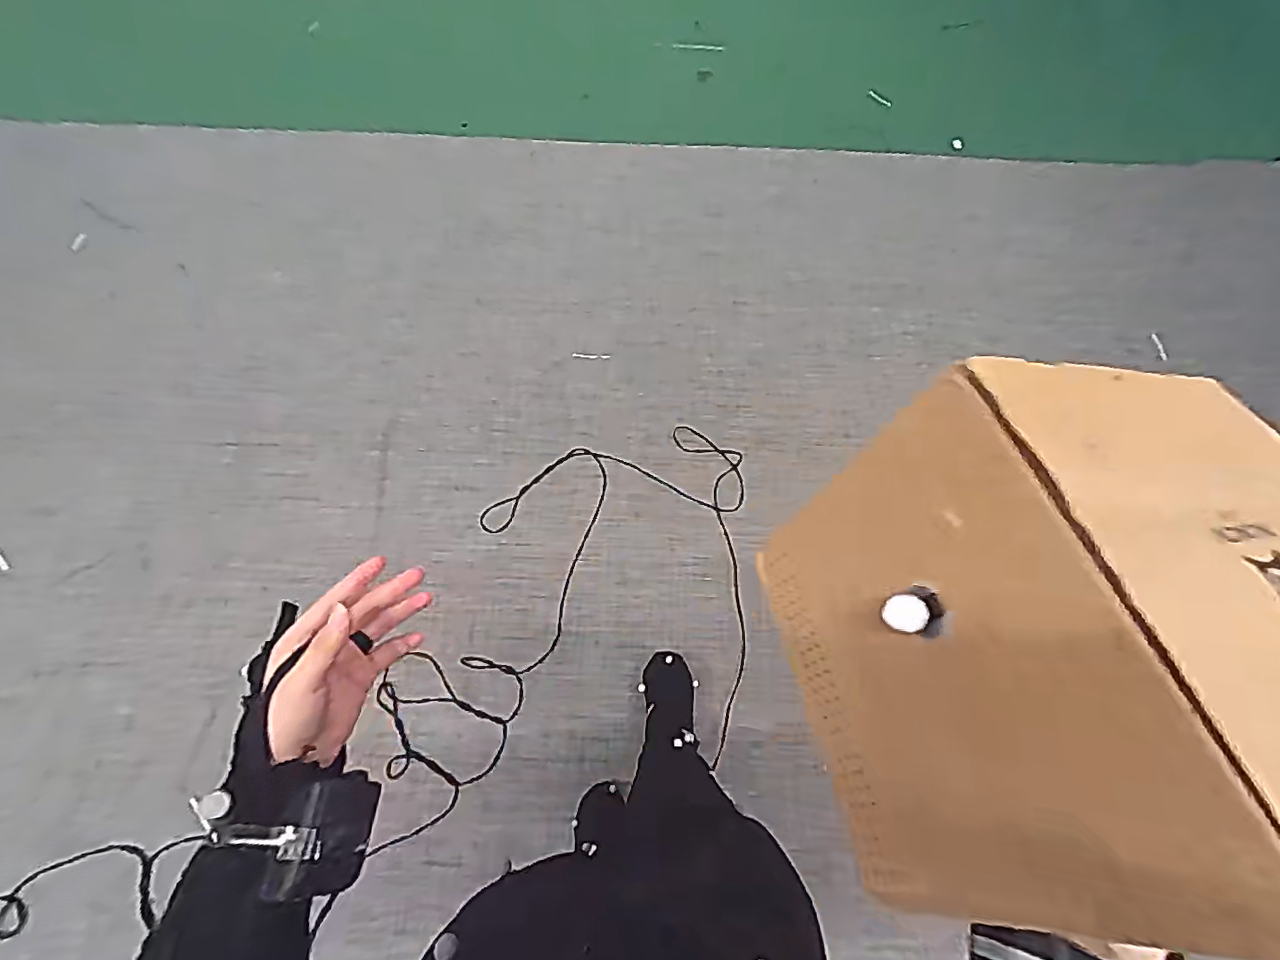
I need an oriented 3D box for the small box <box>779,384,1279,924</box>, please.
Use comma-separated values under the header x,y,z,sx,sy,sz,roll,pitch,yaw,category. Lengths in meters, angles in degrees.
x,y,z,sx,sy,sz,roll,pitch,yaw,category
0.193,0.078,0.255,0.168,0.176,0.179,-2,57,-20,small box
